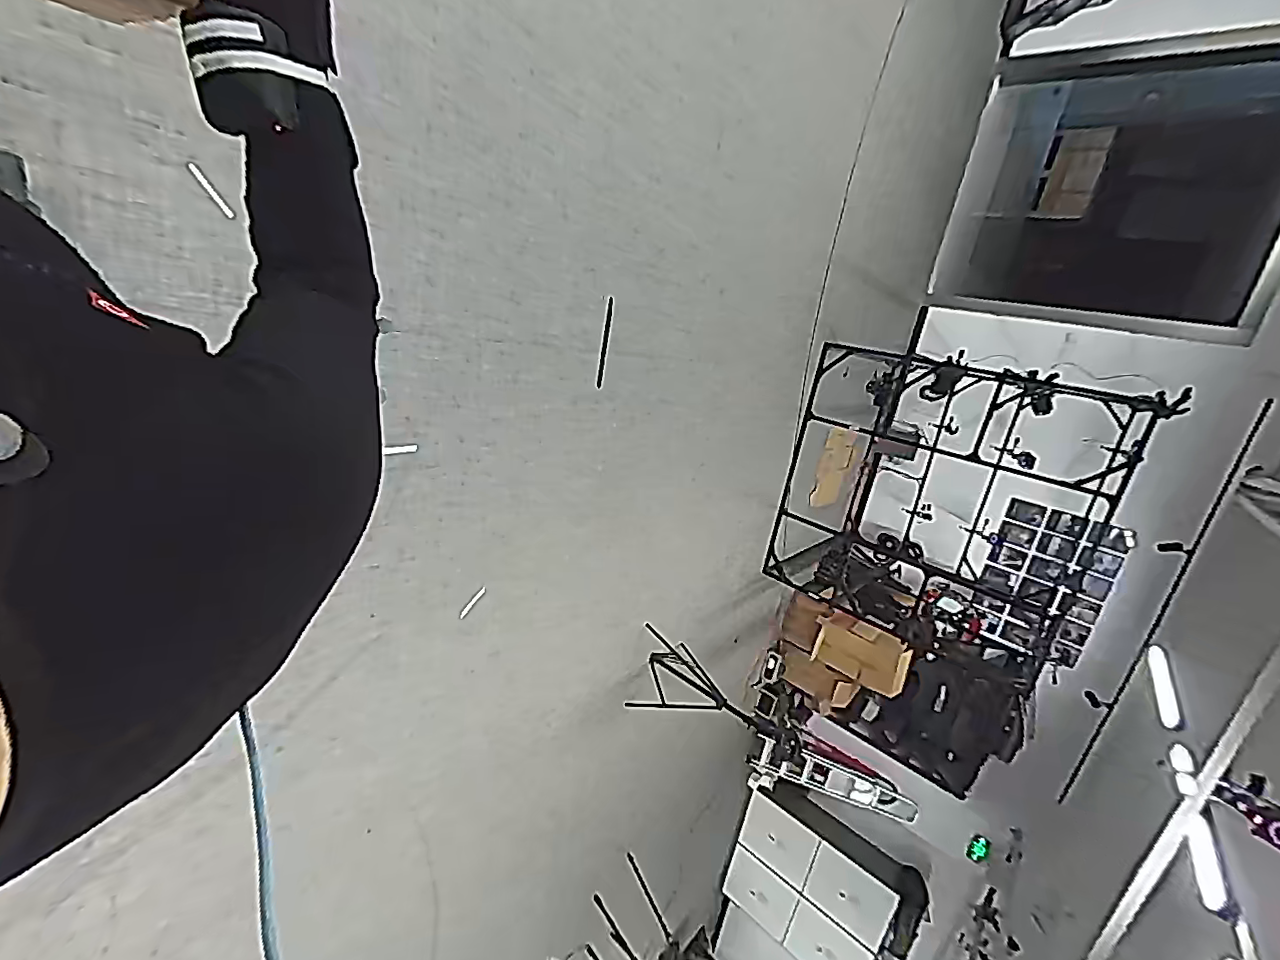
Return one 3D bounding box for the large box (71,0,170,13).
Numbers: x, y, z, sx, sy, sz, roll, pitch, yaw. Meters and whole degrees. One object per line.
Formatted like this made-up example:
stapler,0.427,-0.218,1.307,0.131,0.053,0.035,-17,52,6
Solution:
large box,-0.492,-0.491,0.239,0.408,0.320,0.320,-13,126,-49
